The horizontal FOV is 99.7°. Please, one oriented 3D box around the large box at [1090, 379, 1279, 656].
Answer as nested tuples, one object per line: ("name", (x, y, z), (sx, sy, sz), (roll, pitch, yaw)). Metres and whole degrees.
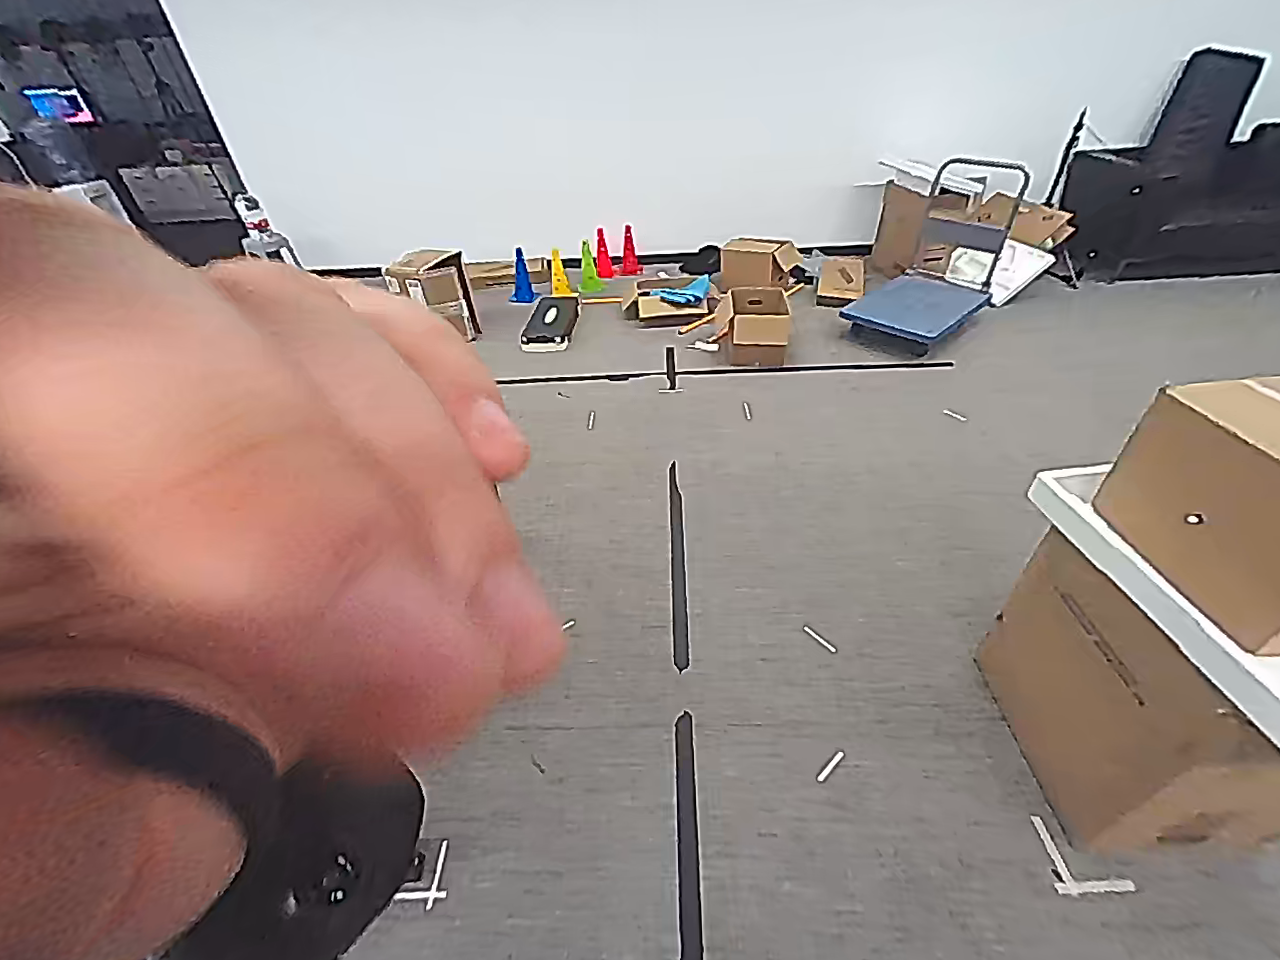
("large box", (1.170, 0.052, 0.986), (0.320, 0.320, 0.408), (-4, 37, -1))
